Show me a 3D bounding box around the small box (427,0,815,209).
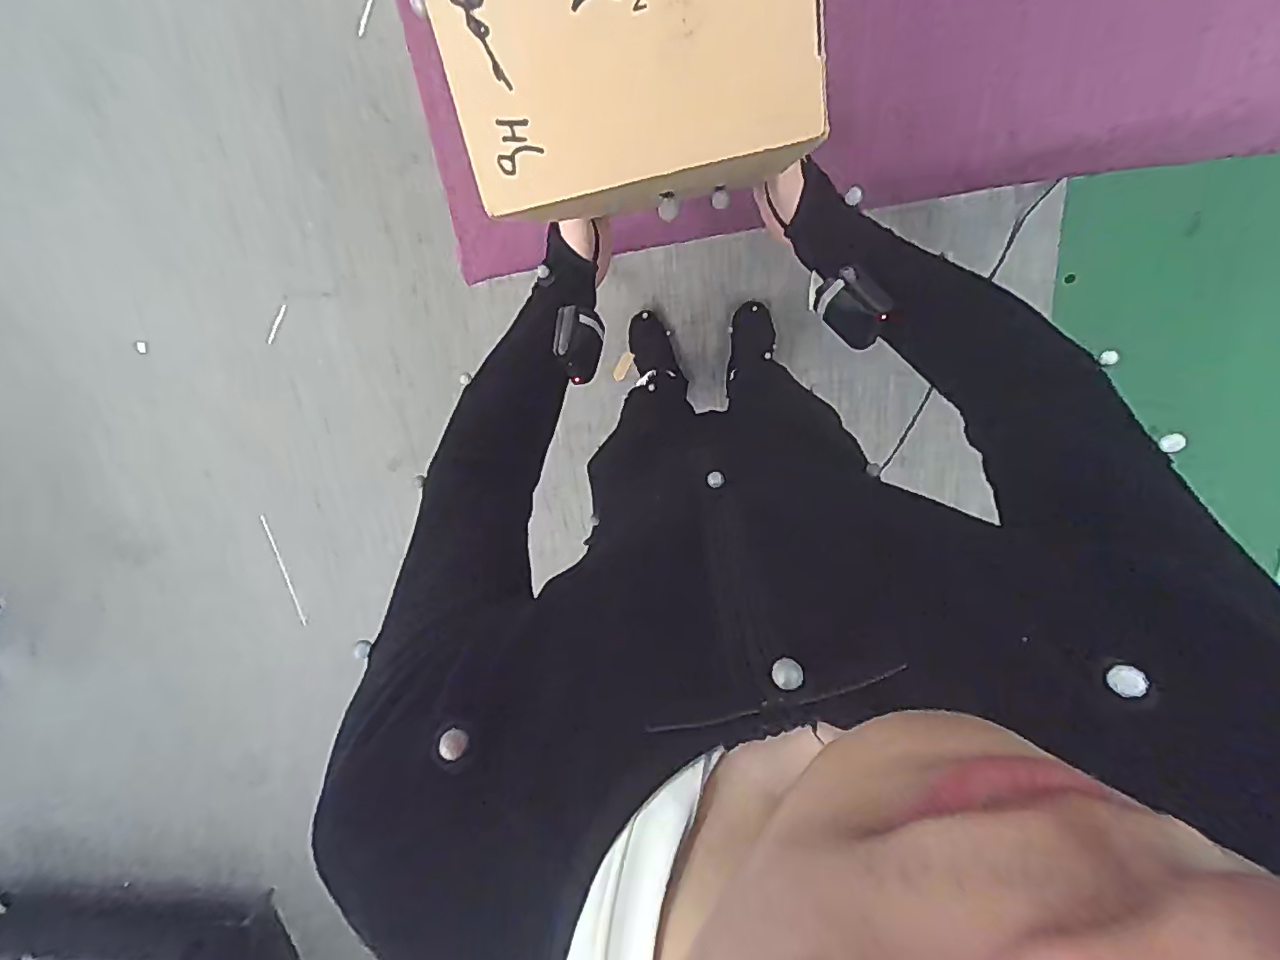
[{"bbox_3d":[-0.006,-0.264,0.314,0.179,0.176,0.168,-7,114,11],"label":"small box"}]
